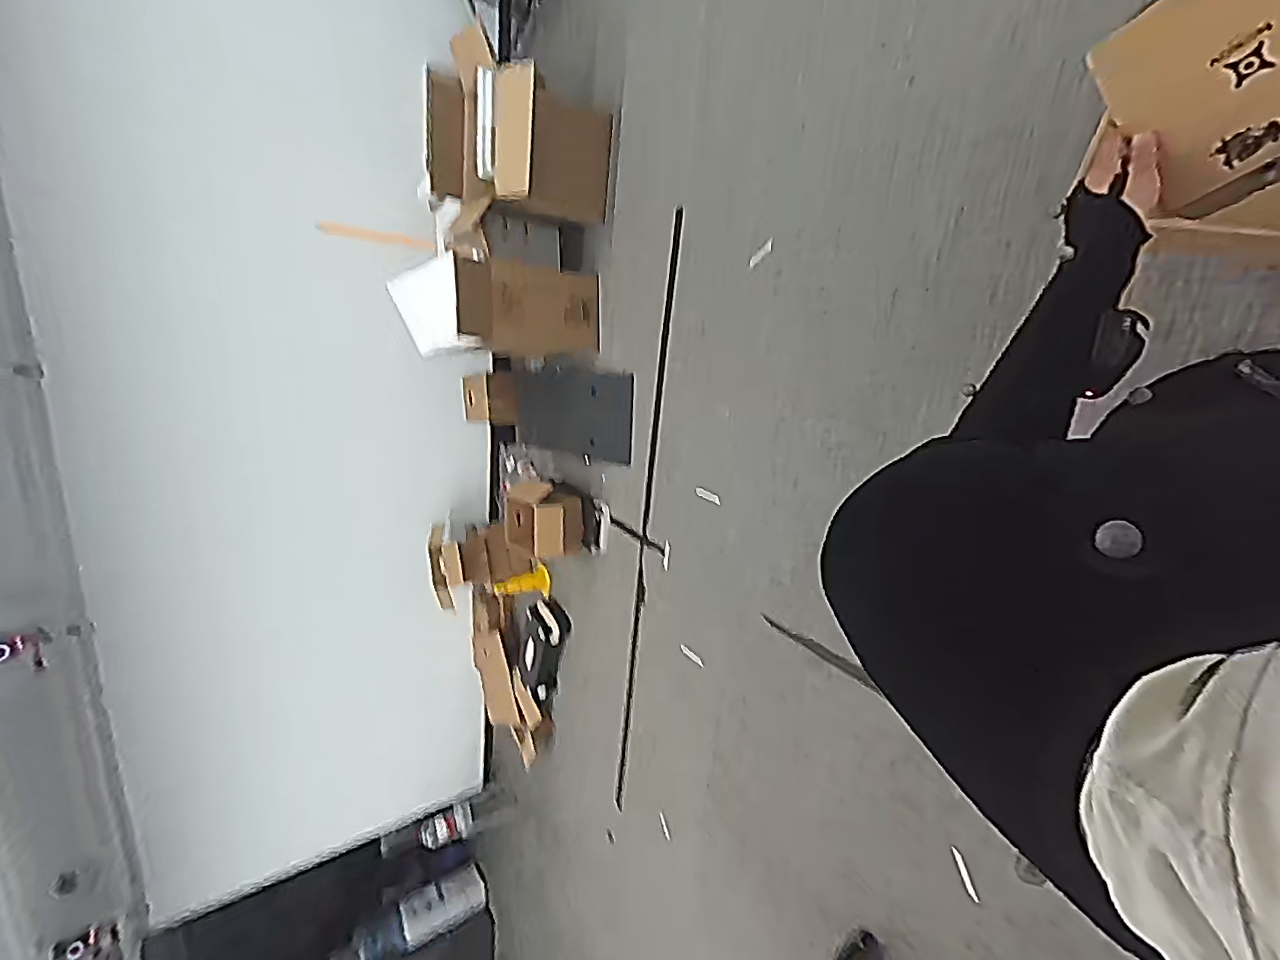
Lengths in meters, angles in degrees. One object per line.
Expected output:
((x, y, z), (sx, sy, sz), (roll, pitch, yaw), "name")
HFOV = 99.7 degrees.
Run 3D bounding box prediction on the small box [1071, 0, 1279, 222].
((0.540, -0.357, 0.486), (0.168, 0.176, 0.179), (-29, 80, 55), "small box")
